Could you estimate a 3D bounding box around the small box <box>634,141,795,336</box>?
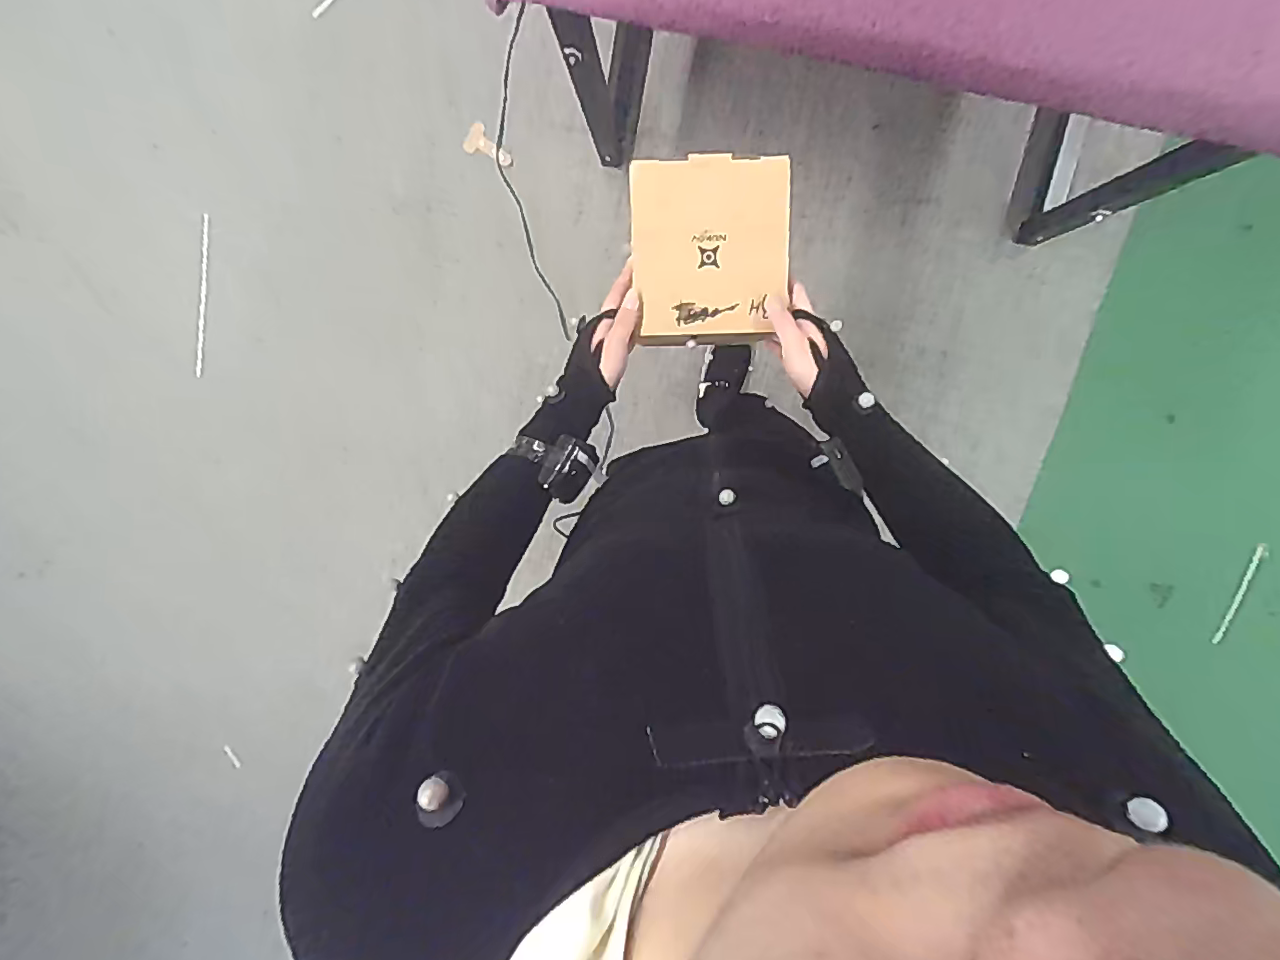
[{"bbox_3d":[0.076,-0.268,0.636,0.168,0.176,0.179,-1,101,1],"label":"small box"}]
